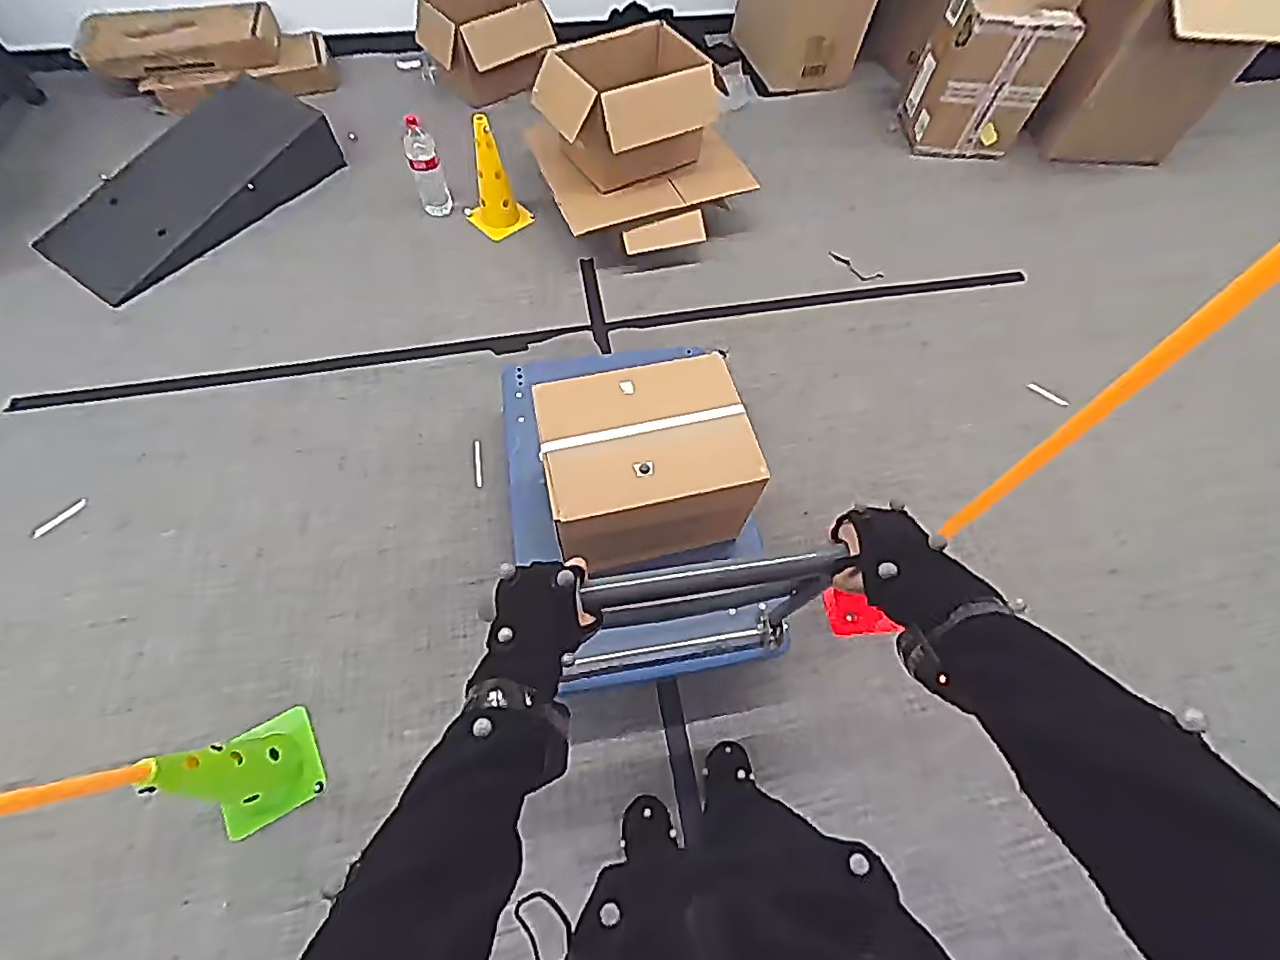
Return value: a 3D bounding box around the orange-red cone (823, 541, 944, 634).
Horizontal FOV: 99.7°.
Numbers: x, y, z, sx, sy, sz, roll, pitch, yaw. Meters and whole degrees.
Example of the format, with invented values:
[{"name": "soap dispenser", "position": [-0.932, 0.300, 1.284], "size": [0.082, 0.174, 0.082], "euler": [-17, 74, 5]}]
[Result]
[{"name": "orange-red cone", "position": [0.589, 0.217, 1.243], "size": [0.199, 0.360, 0.198], "euler": [-2, 63, -5]}]
